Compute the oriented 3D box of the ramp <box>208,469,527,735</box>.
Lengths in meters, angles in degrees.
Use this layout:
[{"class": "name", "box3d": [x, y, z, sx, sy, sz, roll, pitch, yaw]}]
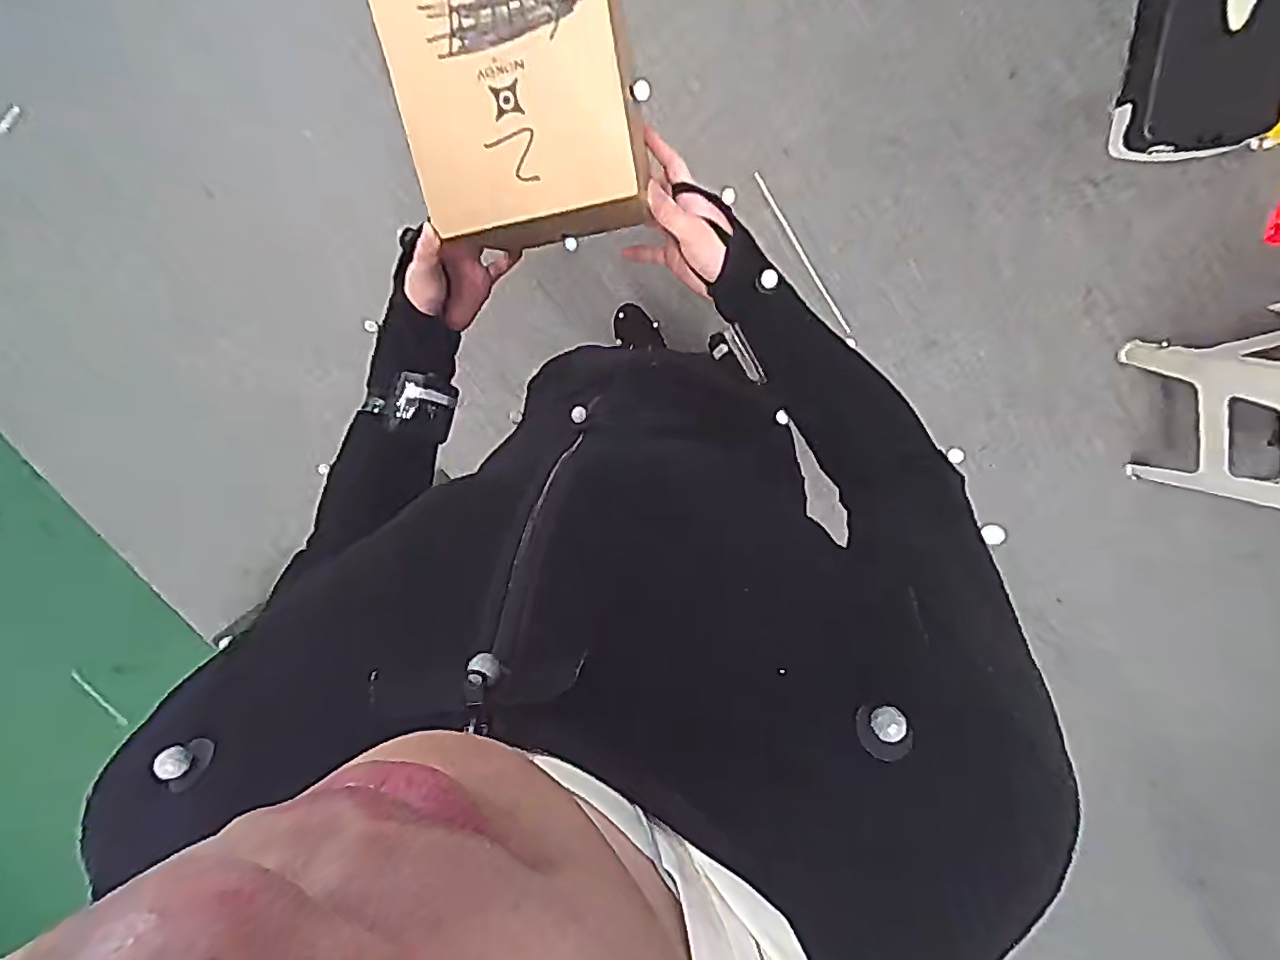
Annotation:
[{"class": "ramp", "box3d": [-0.917, 0.429, 1.825, 0.991, 0.206, 0.509, -35, 101, 16]}]
